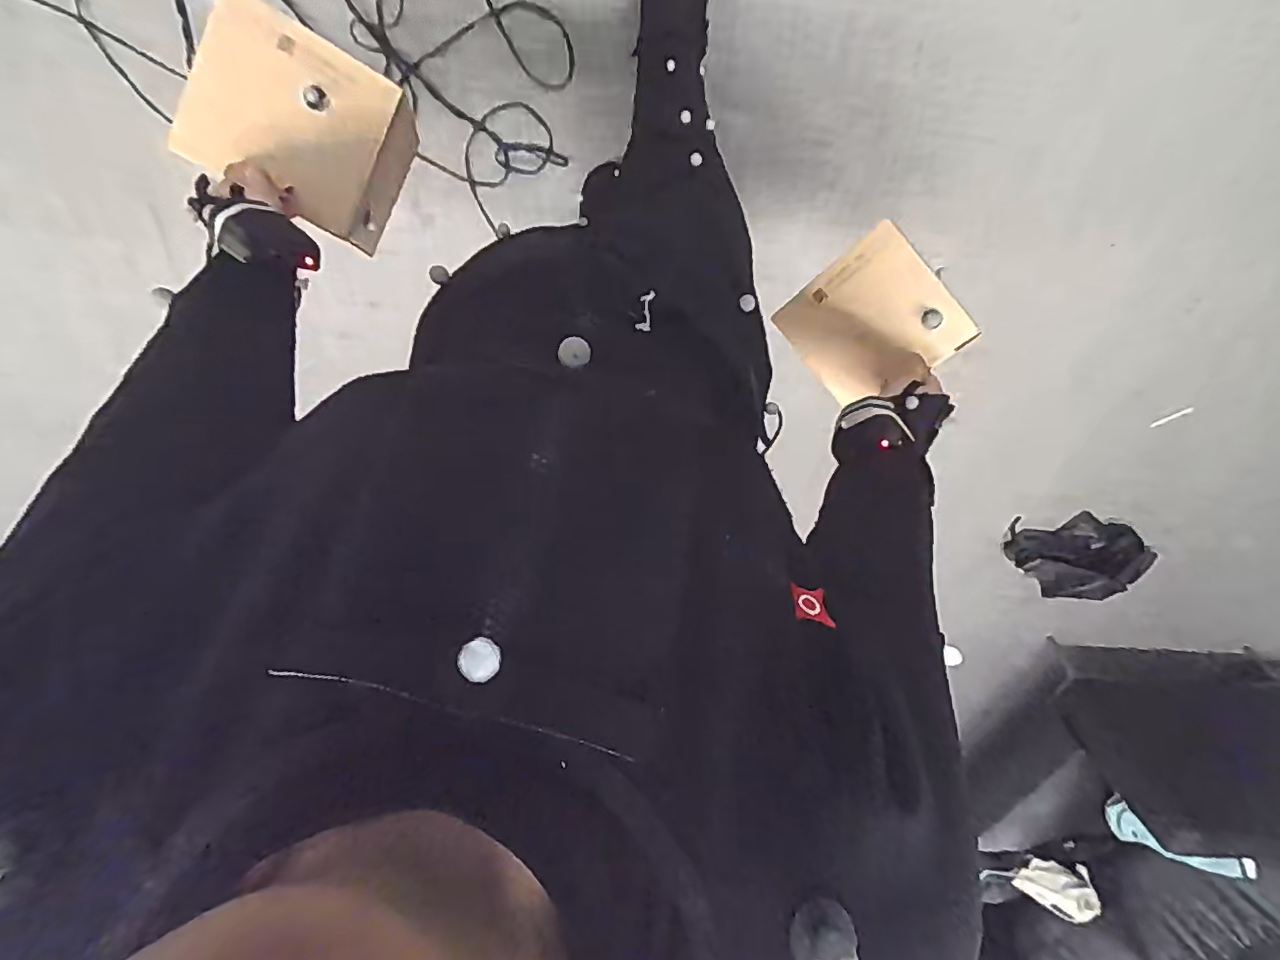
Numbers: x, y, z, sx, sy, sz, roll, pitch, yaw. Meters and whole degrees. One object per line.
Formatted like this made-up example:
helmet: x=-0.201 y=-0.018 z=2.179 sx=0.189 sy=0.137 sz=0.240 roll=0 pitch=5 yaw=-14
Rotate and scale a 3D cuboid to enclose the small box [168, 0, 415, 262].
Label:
small box: x=-0.370 y=-0.376 z=0.612 sx=0.168 sy=0.179 sz=0.176 roll=23 pitch=97 yaw=-21
